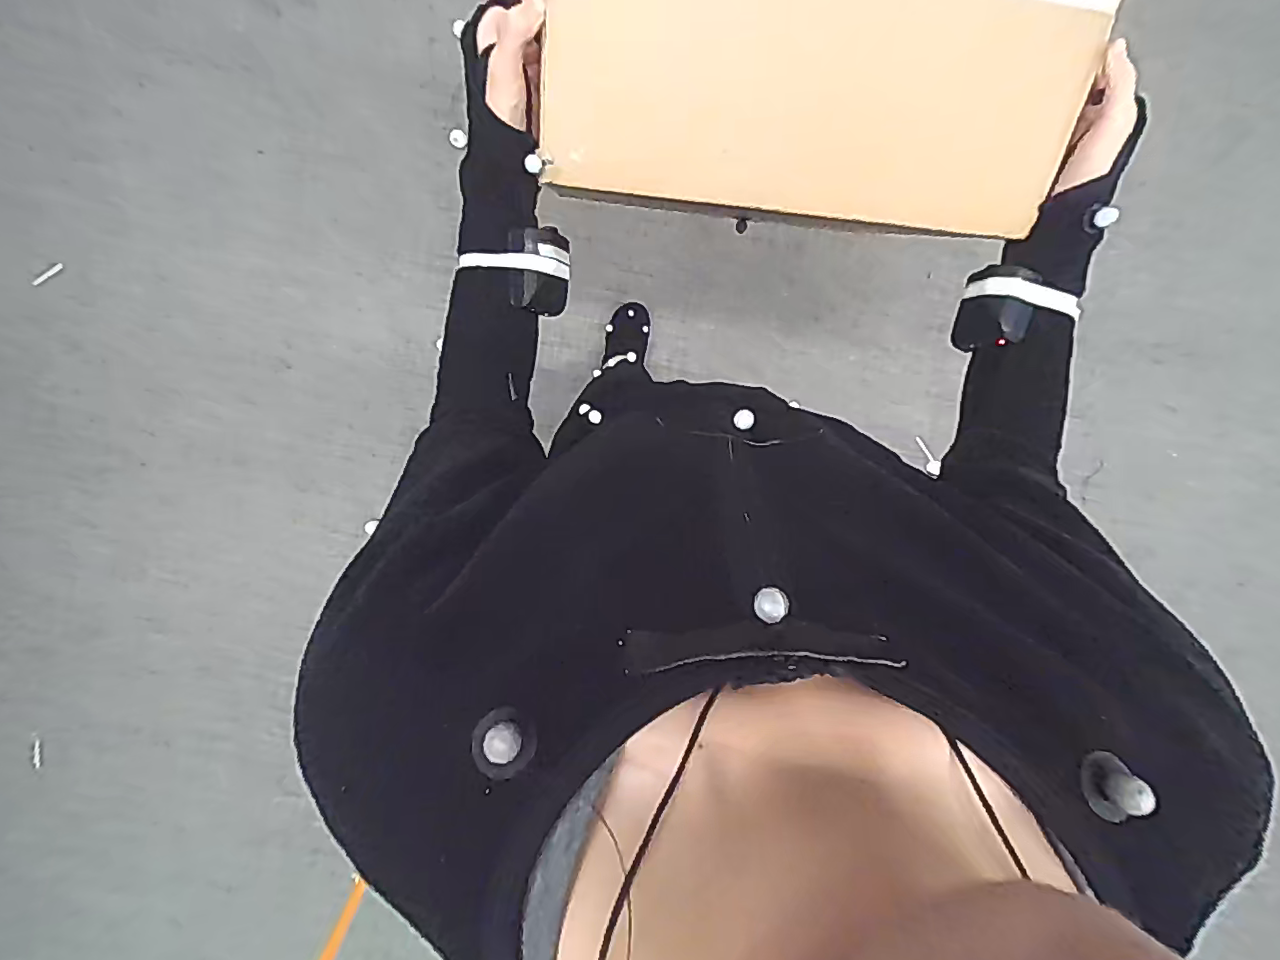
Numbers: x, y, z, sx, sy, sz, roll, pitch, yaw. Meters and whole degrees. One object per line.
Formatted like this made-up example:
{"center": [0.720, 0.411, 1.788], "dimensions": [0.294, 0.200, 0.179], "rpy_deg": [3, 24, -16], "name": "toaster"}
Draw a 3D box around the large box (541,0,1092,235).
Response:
{"center": [0.124, -0.422, 0.509], "dimensions": [0.408, 0.320, 0.320], "rpy_deg": [3, 115, -6], "name": "large box"}
